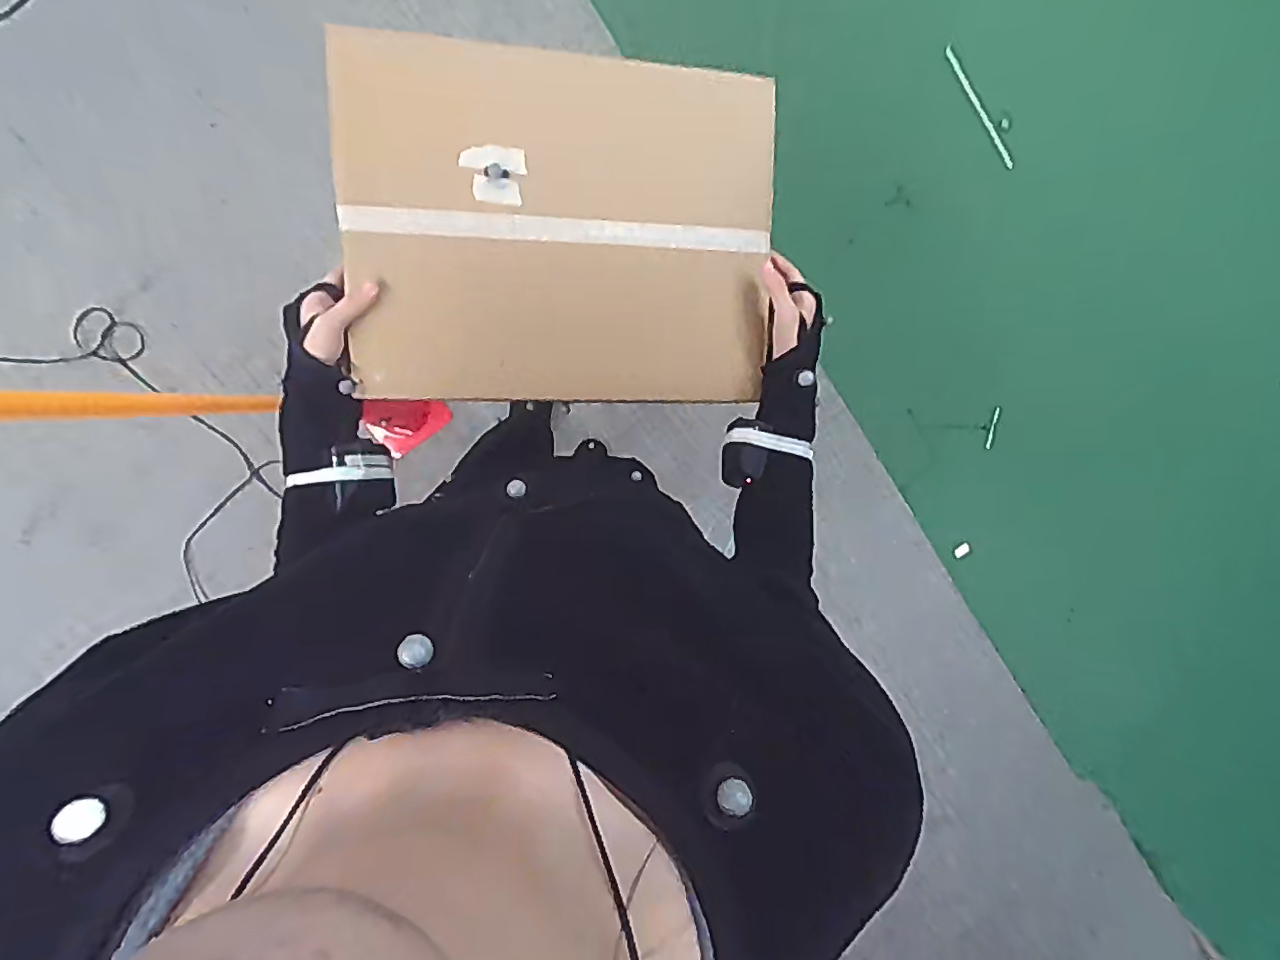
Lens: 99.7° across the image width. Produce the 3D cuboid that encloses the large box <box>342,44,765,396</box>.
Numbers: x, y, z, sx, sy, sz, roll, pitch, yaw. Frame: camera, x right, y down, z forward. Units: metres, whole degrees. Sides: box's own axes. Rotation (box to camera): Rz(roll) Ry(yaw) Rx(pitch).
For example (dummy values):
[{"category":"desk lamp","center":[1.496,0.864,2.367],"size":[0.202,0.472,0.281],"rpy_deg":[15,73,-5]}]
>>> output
[{"category":"large box","center":[-0.091,-0.264,0.675],"size":[0.408,0.320,0.320],"rpy_deg":[-1,98,-10]}]
